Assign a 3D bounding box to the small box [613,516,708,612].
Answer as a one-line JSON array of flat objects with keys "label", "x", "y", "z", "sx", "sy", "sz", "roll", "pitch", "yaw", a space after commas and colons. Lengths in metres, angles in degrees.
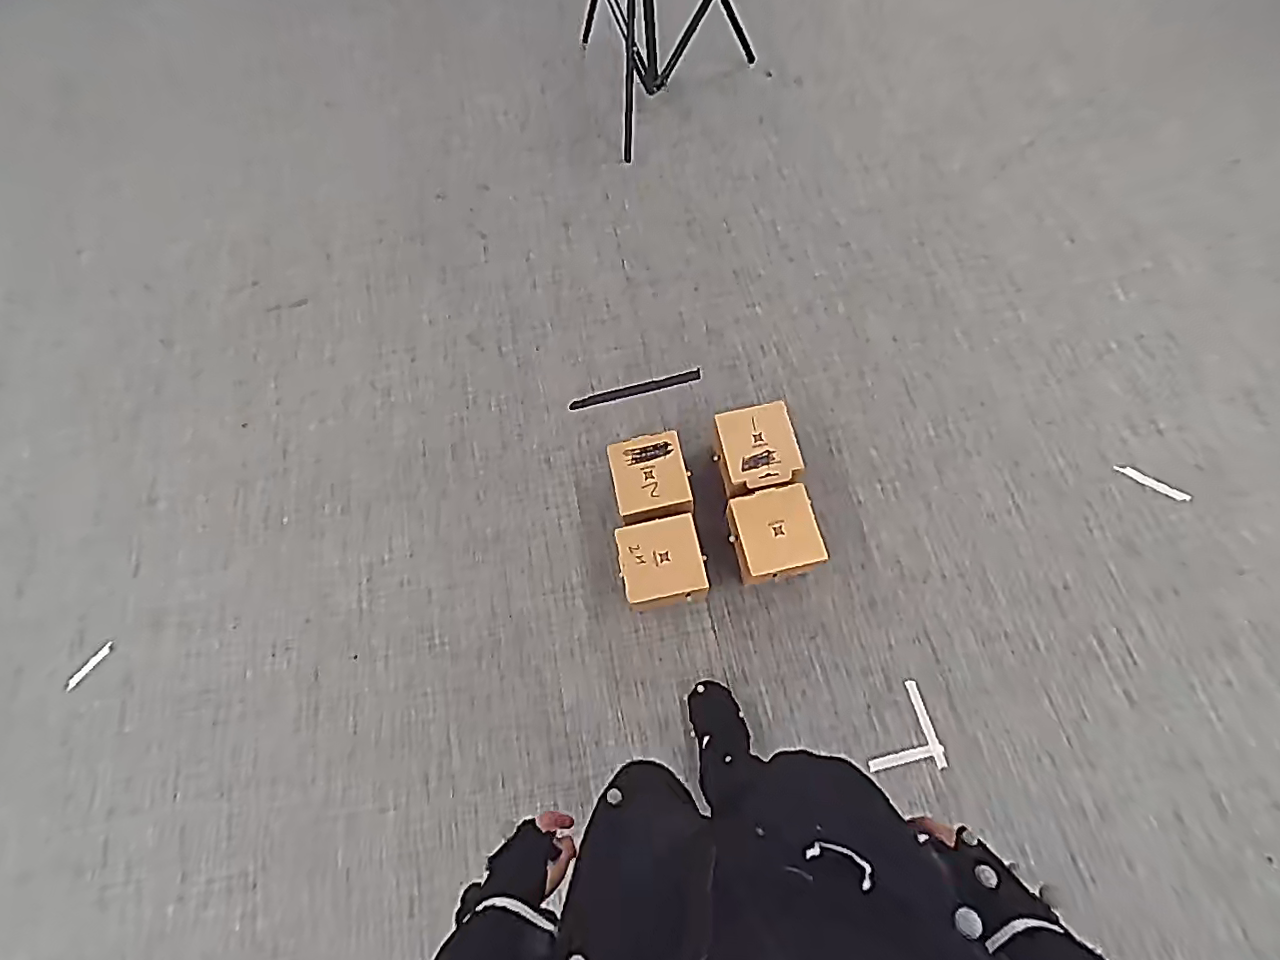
[{"label": "small box", "x": 0.046, "y": 0.193, "z": 1.212, "sx": 0.179, "sy": 0.176, "sz": 0.168, "roll": -12, "pitch": 71, "yaw": 1}]
